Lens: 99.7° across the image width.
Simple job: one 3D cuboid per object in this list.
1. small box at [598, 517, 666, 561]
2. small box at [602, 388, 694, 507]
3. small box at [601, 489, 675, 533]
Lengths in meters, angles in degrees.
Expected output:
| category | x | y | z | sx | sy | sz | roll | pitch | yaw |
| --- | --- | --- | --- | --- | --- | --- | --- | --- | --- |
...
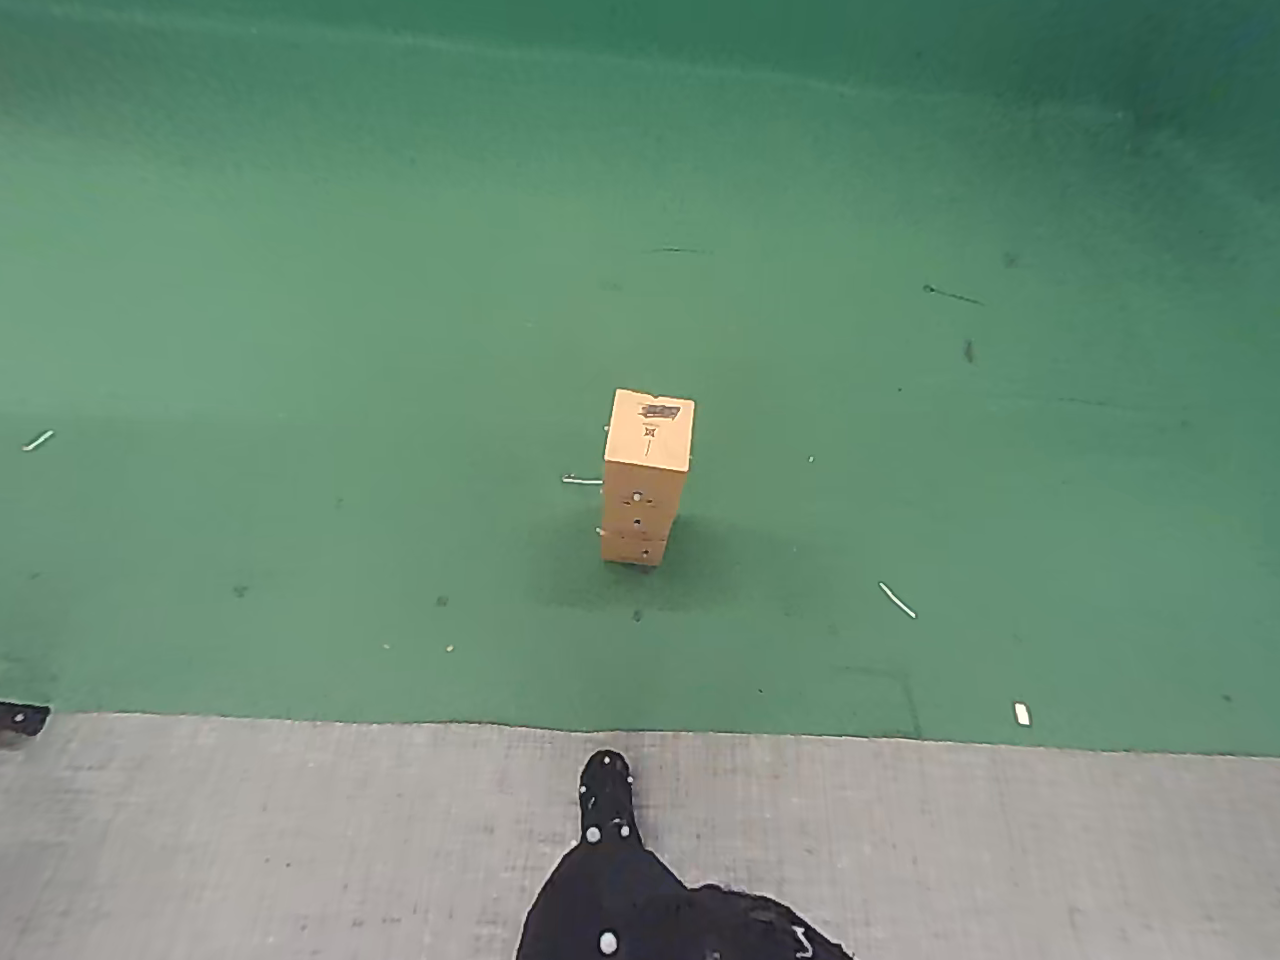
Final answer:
| category | x | y | z | sx | sy | sz | roll | pitch | yaw |
| --- | --- | --- | --- | --- | --- | --- | --- | --- | --- |
| small box | -0.016 | 0.095 | 1.408 | 0.168 | 0.176 | 0.179 | 10 | 60 | -2 |
| small box | 0.012 | -0.064 | 1.143 | 0.168 | 0.176 | 0.179 | 9 | 61 | -1 |
| small box | 0.000 | 0.016 | 1.287 | 0.168 | 0.176 | 0.179 | 9 | 61 | -1 |
